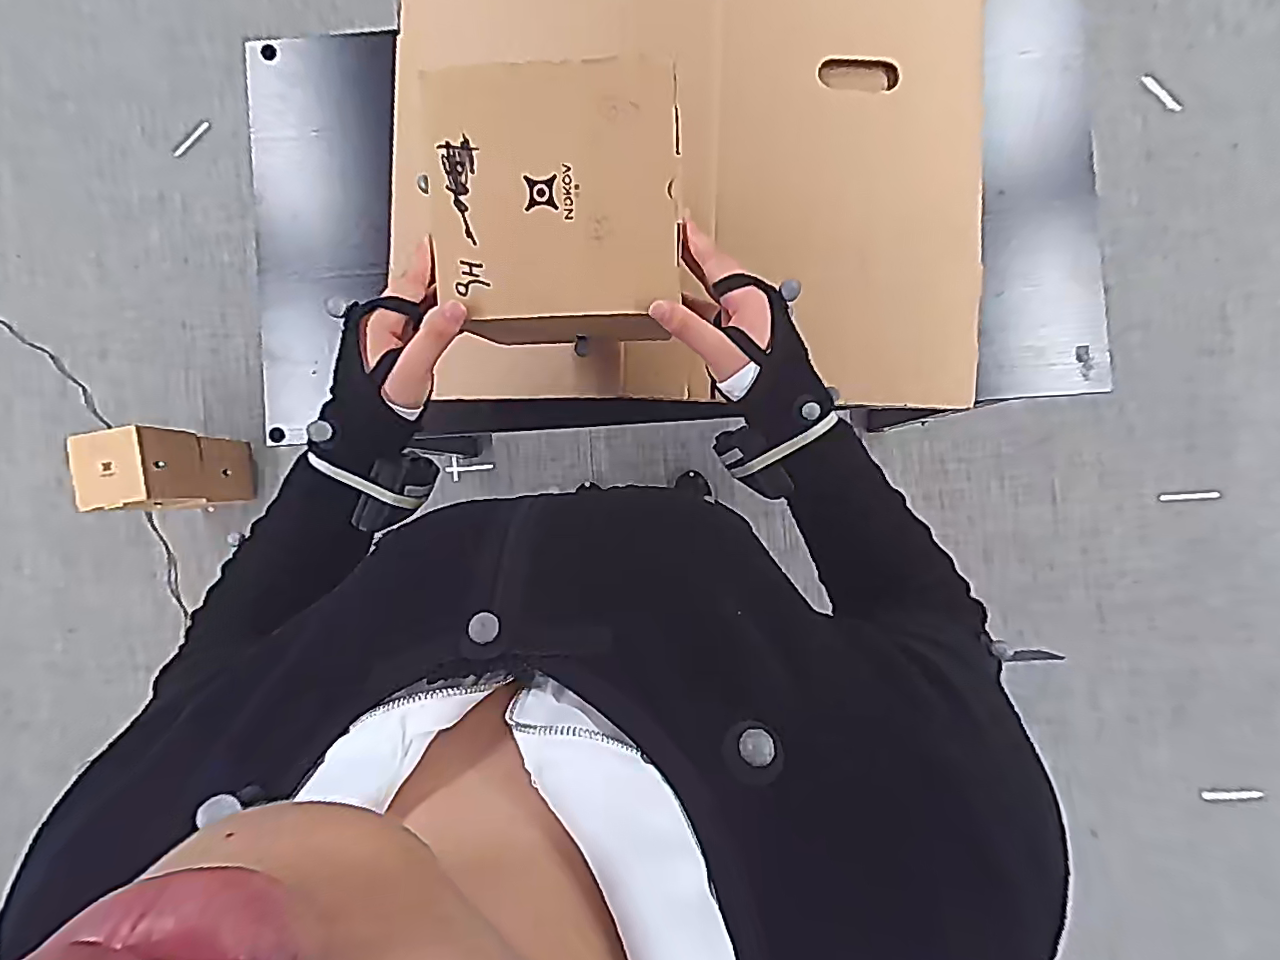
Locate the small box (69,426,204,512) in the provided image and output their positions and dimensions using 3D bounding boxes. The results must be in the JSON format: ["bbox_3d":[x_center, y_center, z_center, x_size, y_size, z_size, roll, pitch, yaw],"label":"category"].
[{"bbox_3d":[-1.202,-0.025,1.305,0.168,0.176,0.179,-10,88,1],"label":"small box"}]

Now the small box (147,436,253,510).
[{"bbox_3d":[-1.195,-0.016,1.468,0.168,0.176,0.179,-8,89,2],"label":"small box"}]

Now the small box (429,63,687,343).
[{"bbox_3d":[-0.057,-0.211,0.457,0.179,0.176,0.168,-2,96,0],"label":"small box"}]
